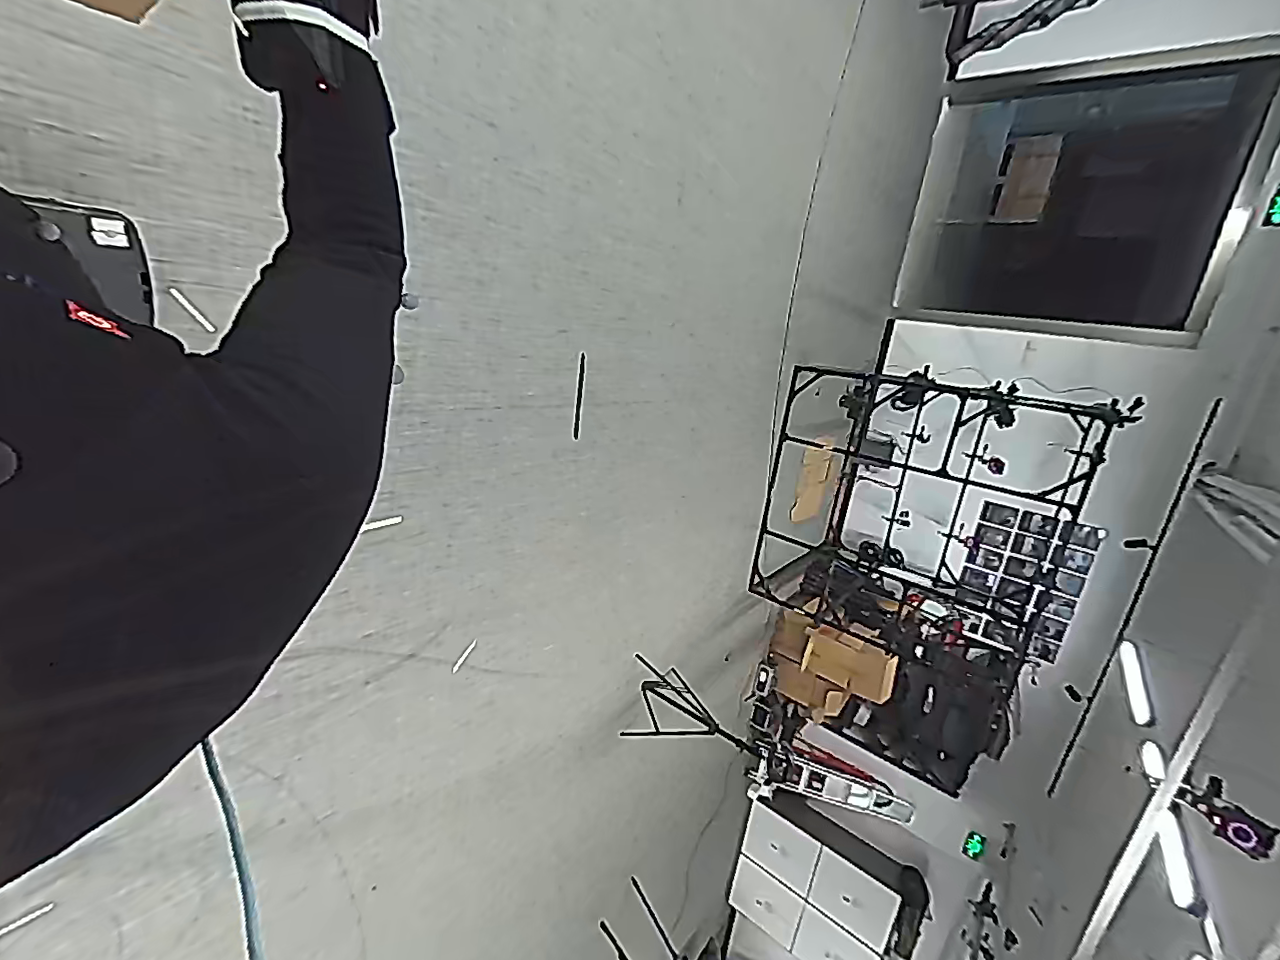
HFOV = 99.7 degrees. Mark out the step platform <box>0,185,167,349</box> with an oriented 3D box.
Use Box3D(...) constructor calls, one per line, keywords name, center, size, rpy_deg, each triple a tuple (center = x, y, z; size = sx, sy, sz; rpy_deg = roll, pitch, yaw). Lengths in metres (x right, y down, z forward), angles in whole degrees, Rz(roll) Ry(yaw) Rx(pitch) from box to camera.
Box3D(name="step platform", center=(-1.260, -0.381, 0.920), size=(0.684, 0.204, 0.286), rpy_deg=(-16, 118, -52))
